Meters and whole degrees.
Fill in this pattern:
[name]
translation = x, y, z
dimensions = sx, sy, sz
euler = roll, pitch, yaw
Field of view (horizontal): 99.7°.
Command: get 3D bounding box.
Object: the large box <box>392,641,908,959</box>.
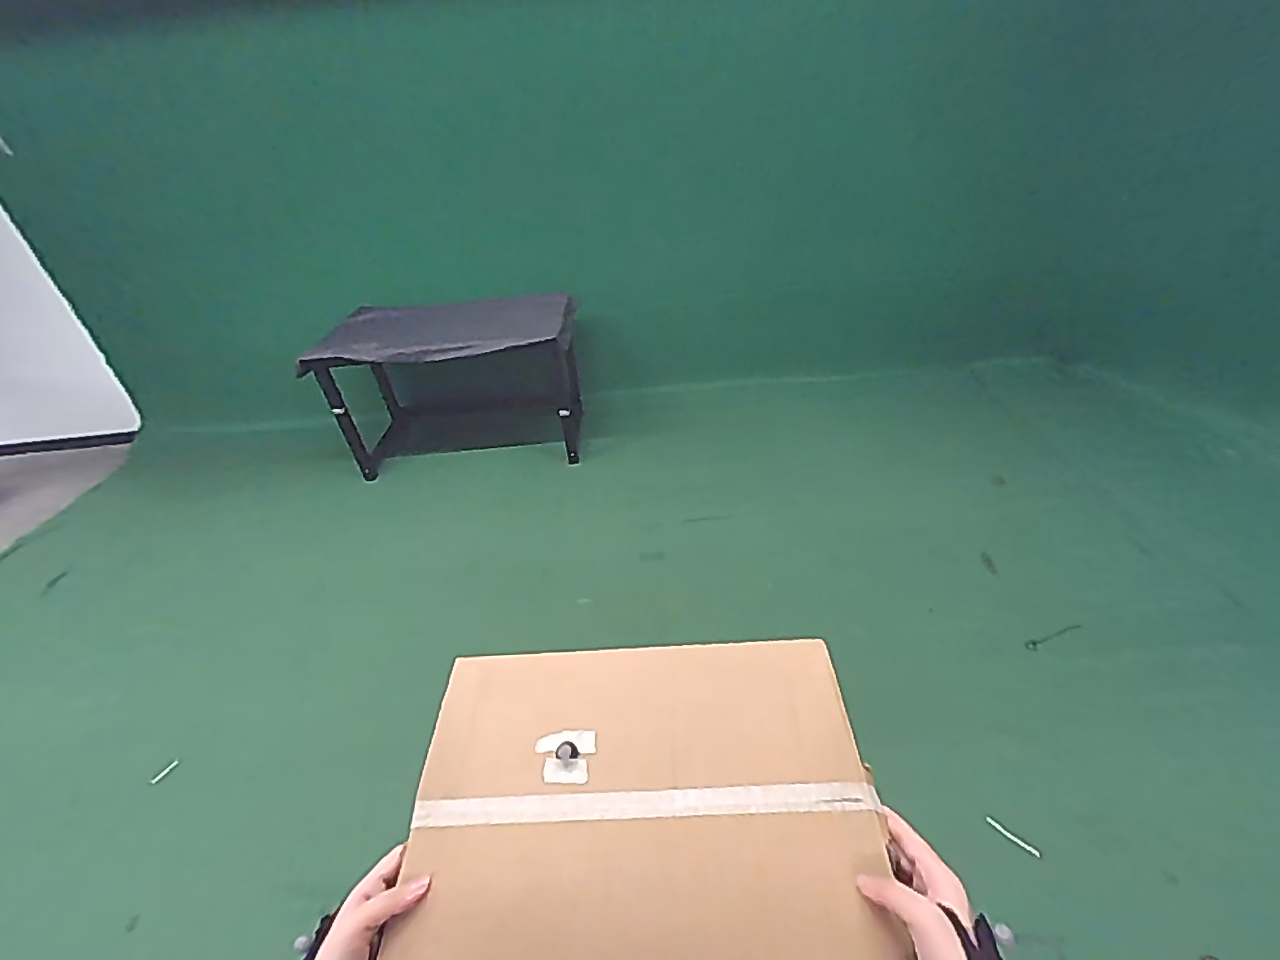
[large box]
translation = 0.017, 0.406, 0.586
dimensions = 0.408, 0.320, 0.320
euler = -6, 42, 4
